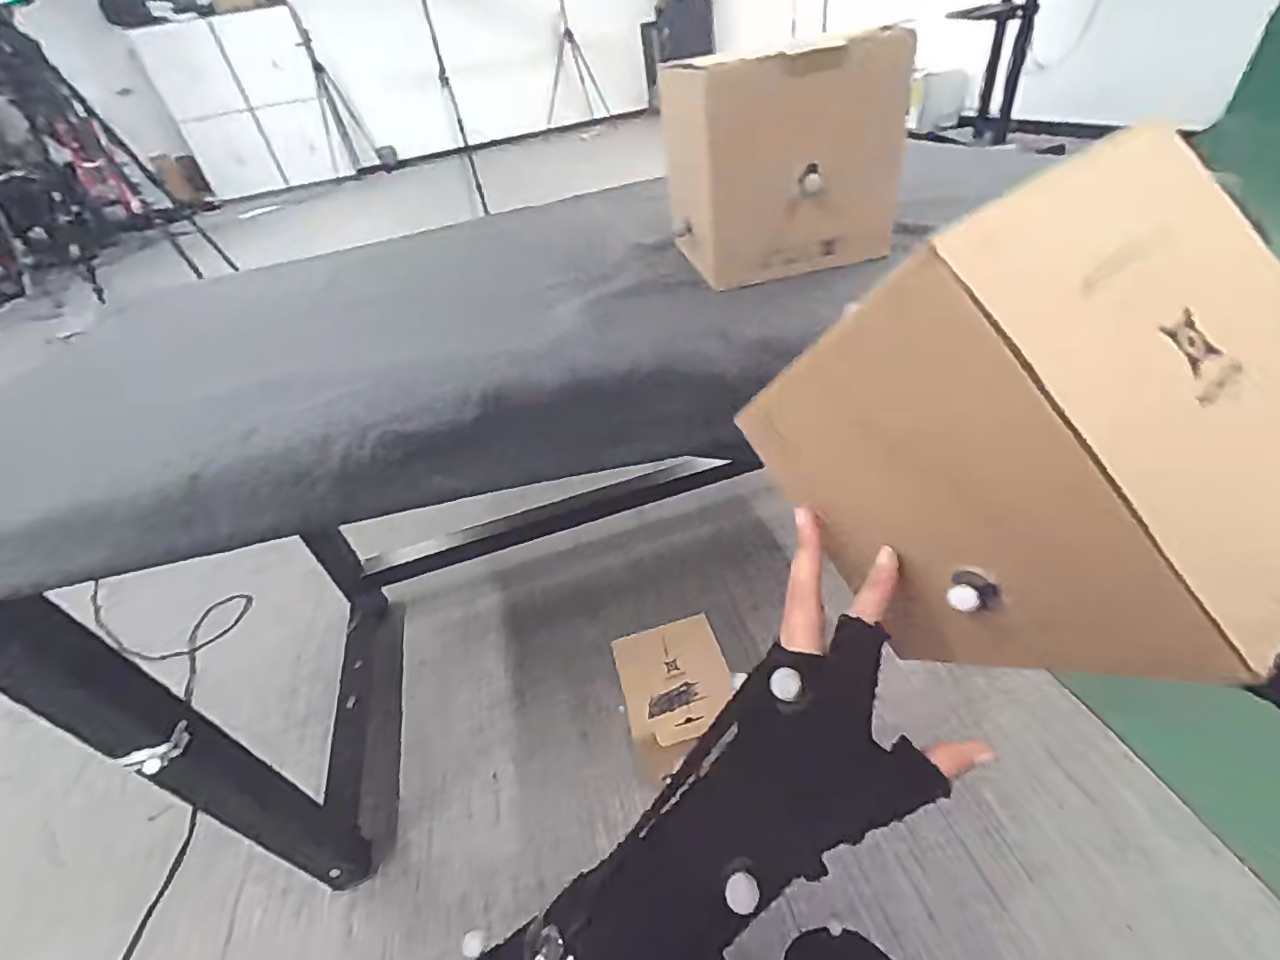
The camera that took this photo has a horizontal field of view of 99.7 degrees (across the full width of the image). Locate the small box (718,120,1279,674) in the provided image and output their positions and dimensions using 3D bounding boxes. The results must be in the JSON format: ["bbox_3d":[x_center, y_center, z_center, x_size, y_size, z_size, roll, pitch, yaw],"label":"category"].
[{"bbox_3d":[0.172,-0.028,0.280,0.168,0.176,0.179,-33,84,-21],"label":"small box"}]

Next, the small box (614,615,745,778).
[{"bbox_3d":[0.066,0.358,0.885,0.168,0.176,0.179,-15,37,-5],"label":"small box"}]

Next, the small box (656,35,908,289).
[{"bbox_3d":[0.120,-0.294,0.510,0.168,0.176,0.179,-13,39,-2],"label":"small box"}]
